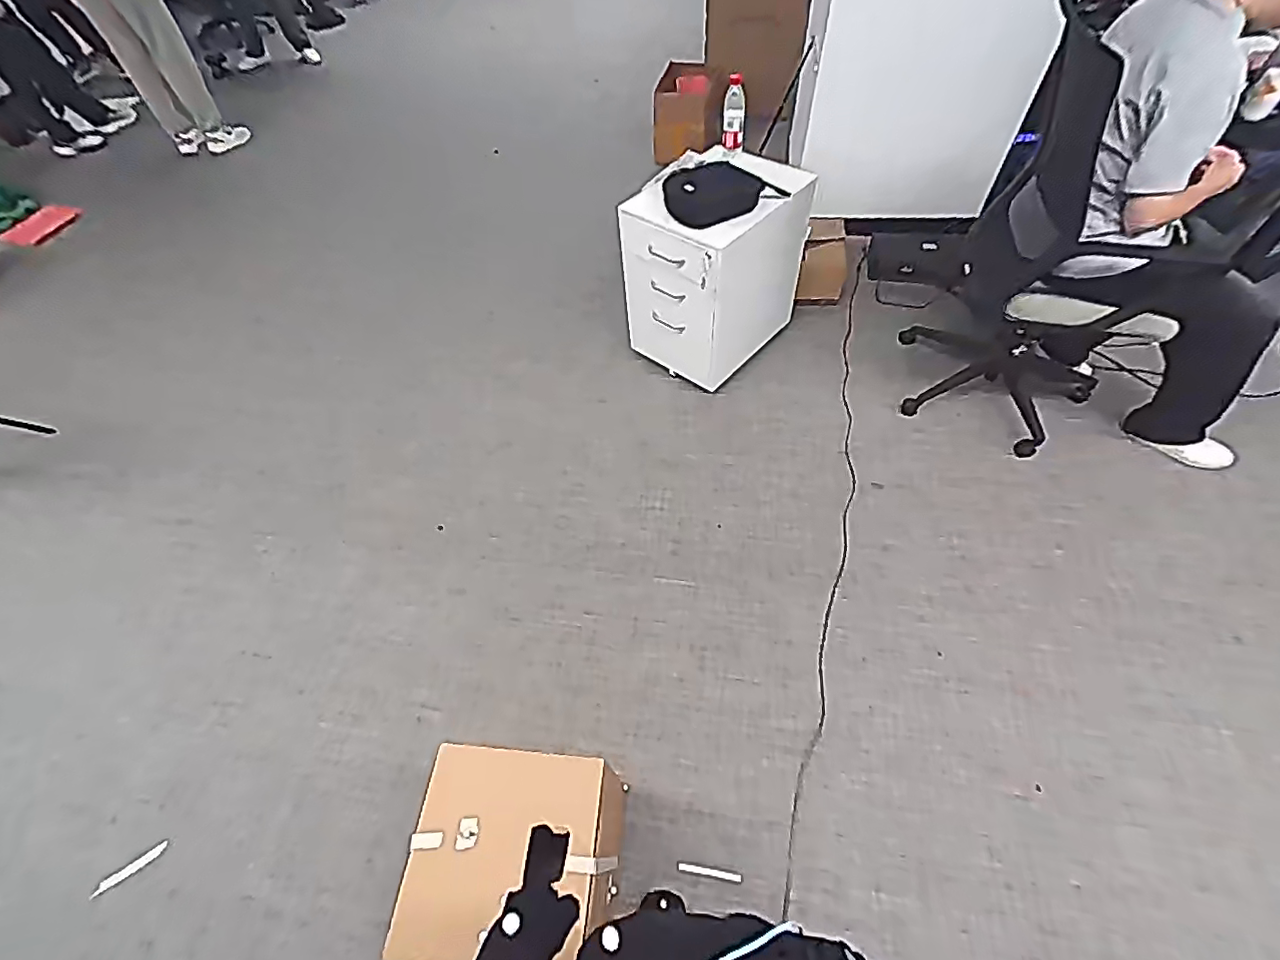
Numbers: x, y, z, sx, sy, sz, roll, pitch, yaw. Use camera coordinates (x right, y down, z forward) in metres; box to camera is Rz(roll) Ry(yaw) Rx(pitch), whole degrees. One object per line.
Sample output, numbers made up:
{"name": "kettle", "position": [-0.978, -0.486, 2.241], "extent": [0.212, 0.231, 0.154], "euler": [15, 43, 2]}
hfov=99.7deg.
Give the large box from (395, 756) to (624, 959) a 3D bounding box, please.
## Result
{"name": "large box", "position": [-0.212, 0.741, 1.057], "extent": [0.320, 0.408, 0.320], "euler": [4, 56, 6]}
